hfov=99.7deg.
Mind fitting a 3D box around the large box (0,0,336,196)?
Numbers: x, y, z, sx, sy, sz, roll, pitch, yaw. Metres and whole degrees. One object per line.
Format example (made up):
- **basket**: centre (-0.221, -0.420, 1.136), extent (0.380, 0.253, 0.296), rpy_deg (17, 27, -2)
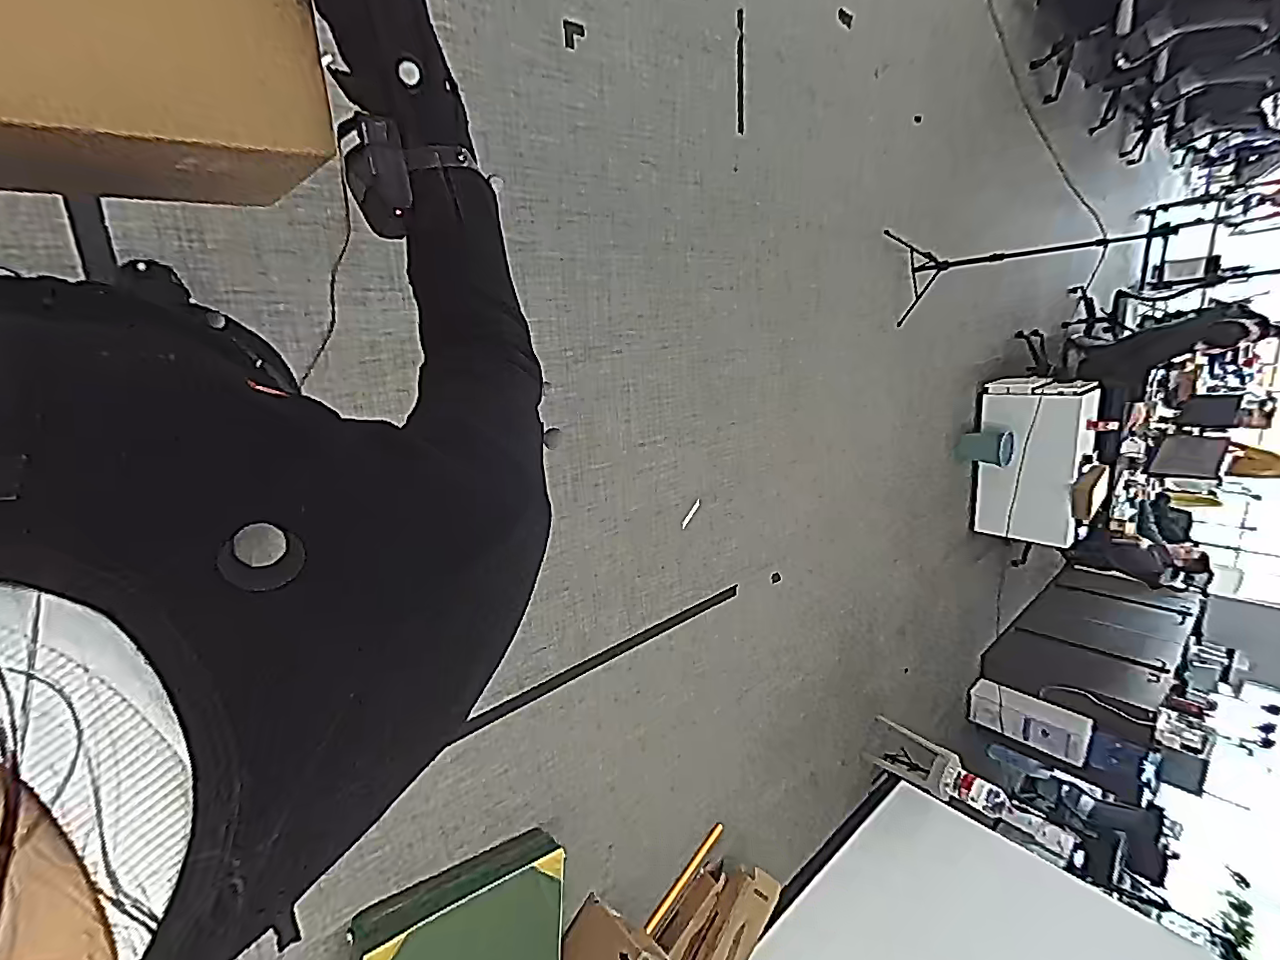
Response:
- **large box**: centre (-0.464, -0.362, 0.314), extent (0.408, 0.320, 0.320), rpy_deg (-18, 118, -37)
